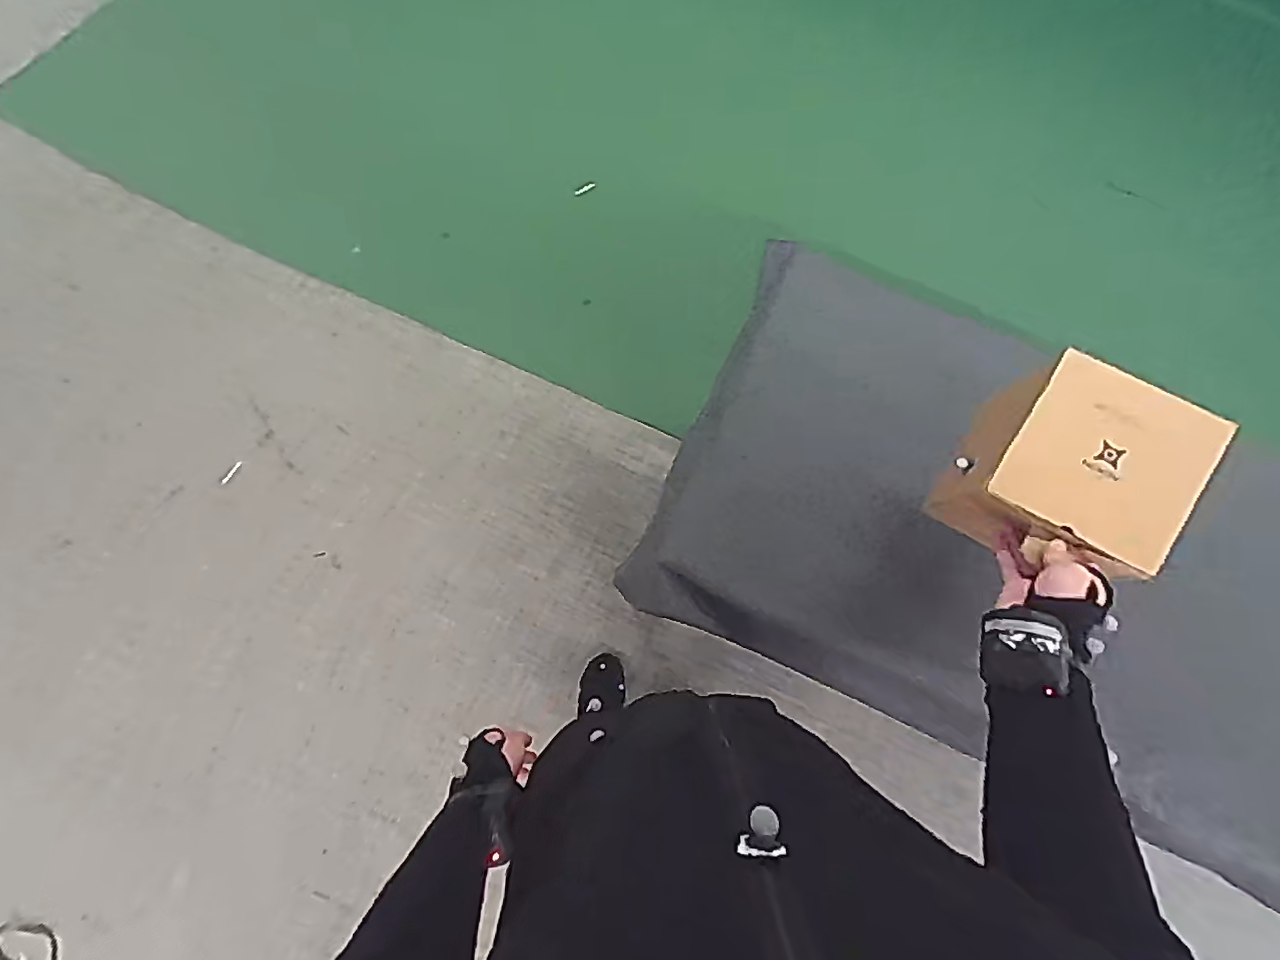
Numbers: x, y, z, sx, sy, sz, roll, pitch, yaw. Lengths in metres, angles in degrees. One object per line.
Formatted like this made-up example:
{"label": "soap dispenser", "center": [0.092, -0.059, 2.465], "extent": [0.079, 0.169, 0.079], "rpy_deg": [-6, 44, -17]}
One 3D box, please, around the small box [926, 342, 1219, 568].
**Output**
{"label": "small box", "center": [0.459, -0.016, 0.611], "extent": [0.168, 0.176, 0.179], "rpy_deg": [32, 86, 10]}
